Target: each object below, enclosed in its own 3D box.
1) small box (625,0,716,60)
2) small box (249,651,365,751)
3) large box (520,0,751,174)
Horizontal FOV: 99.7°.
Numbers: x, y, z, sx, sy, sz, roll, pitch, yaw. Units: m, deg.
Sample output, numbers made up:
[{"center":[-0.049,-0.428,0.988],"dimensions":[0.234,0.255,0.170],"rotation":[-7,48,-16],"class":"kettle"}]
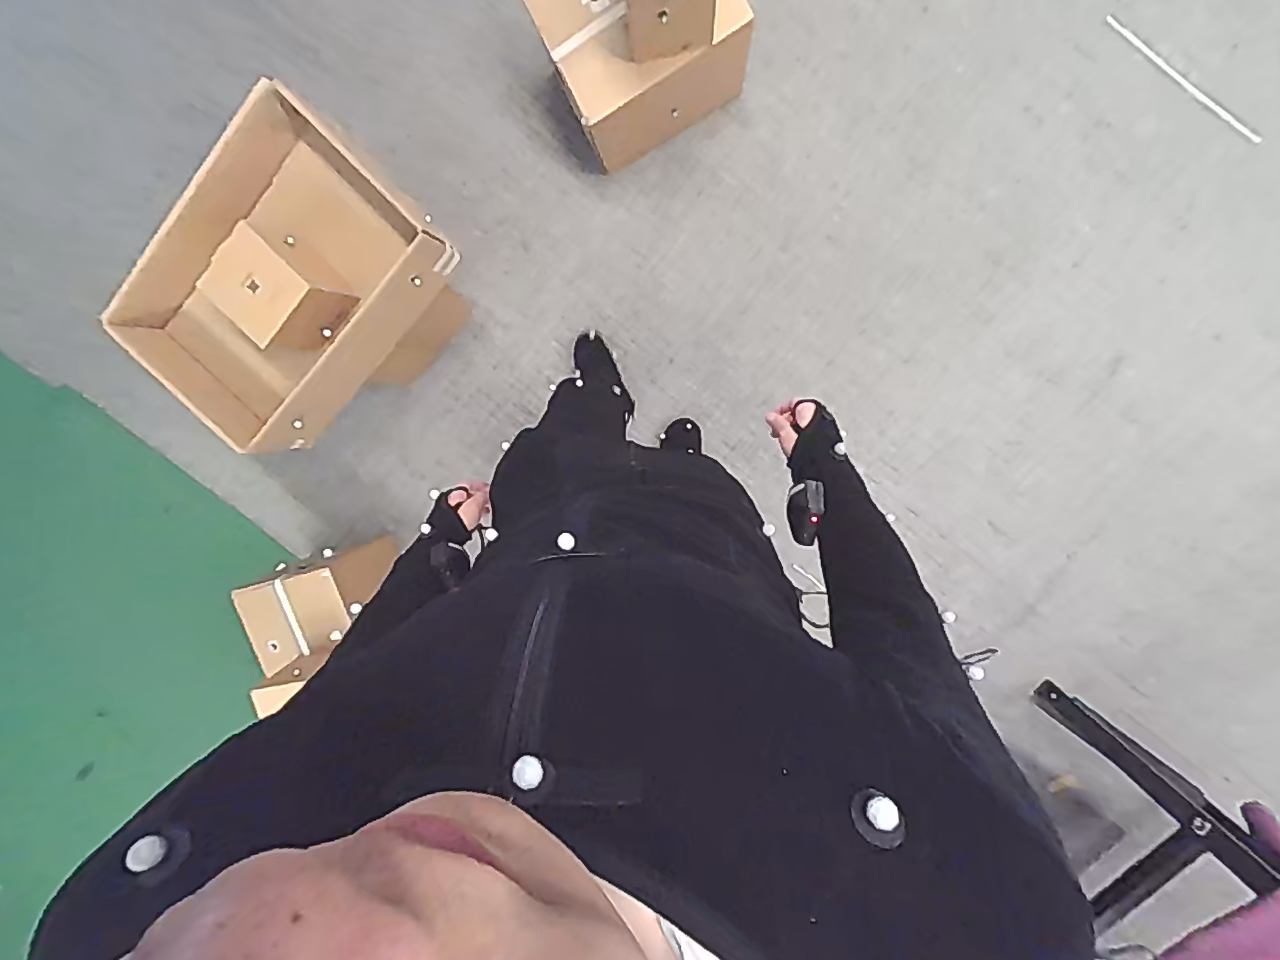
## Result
[{"center":[0.050,-0.953,1.025],"dimensions":[0.168,0.176,0.179],"rotation":[-8,101,7],"class":"small box"},{"center":[-0.838,0.559,1.387],"dimensions":[0.179,0.176,0.168],"rotation":[-12,98,7],"class":"small box"},{"center":[0.001,-1.017,1.268],"dimensions":[0.408,0.320,0.320],"rotation":[-28,97,11],"class":"large box"}]
